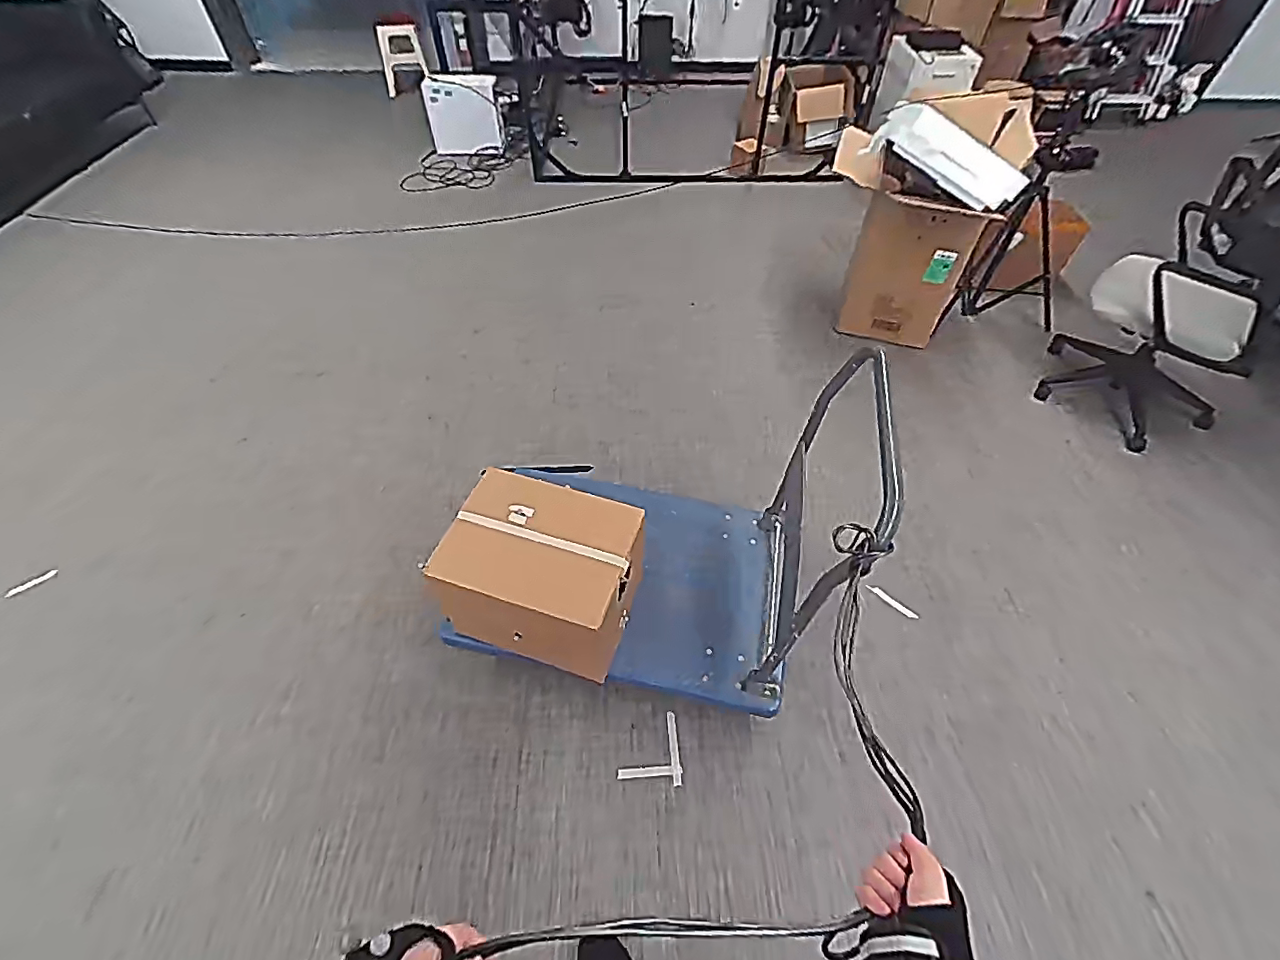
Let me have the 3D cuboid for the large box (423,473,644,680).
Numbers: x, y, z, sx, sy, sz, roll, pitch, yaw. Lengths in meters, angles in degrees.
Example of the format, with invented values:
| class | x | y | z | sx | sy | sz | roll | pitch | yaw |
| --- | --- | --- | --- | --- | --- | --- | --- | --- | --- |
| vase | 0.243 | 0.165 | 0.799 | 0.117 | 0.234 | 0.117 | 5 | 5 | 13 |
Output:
| class | x | y | z | sx | sy | sz | roll | pitch | yaw |
| --- | --- | --- | --- | --- | --- | --- | --- | --- | --- |
| large box | -0.222 | 0.233 | 1.301 | 0.408 | 0.320 | 0.320 | 15 | 51 | 11 |
